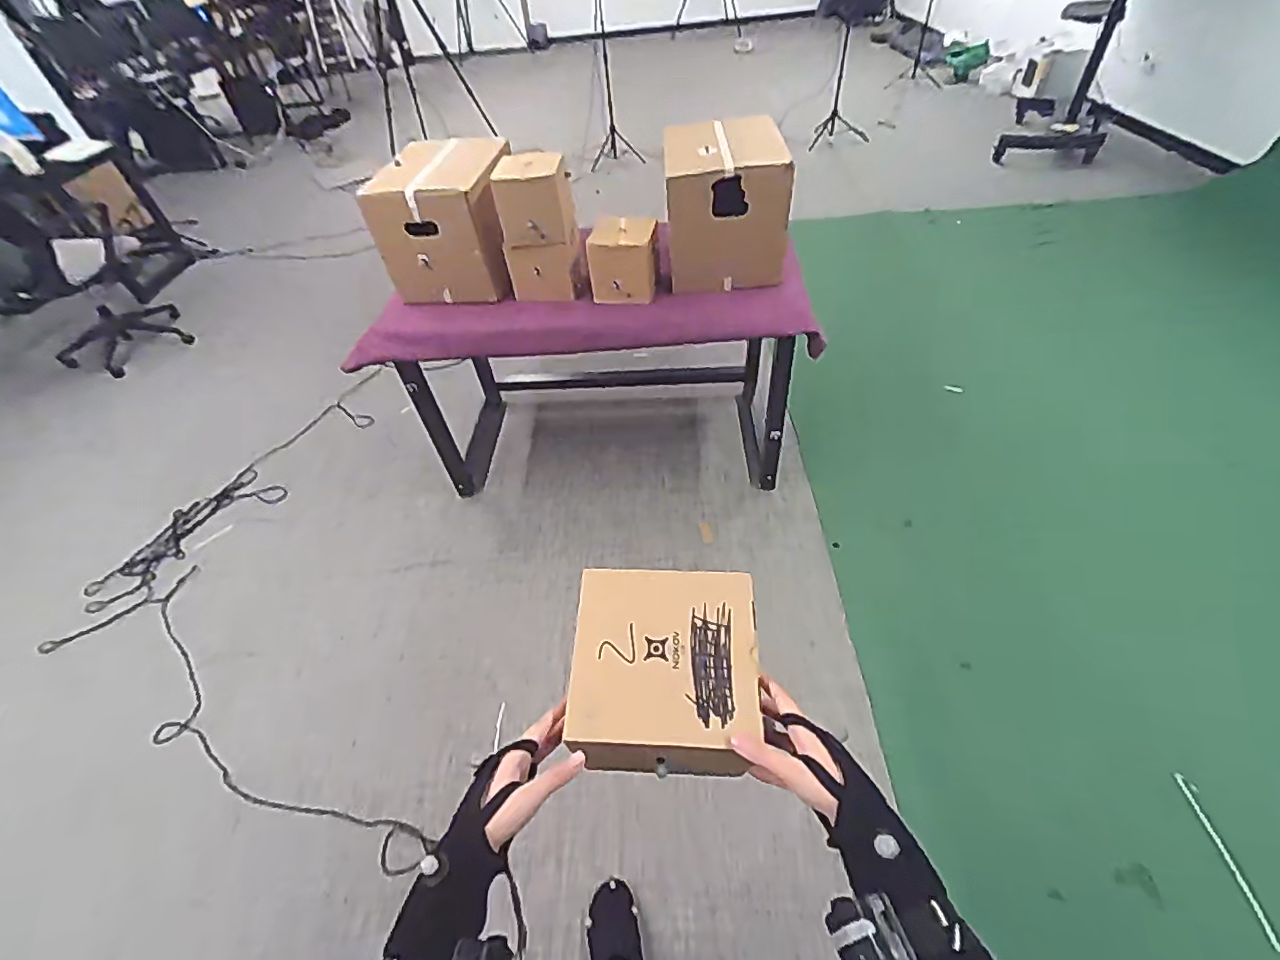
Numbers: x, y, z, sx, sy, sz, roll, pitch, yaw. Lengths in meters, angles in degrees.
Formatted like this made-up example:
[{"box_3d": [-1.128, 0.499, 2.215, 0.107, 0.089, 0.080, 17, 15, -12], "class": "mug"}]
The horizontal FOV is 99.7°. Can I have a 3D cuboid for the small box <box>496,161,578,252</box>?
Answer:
[{"box_3d": [-0.265, -0.726, 1.438, 0.168, 0.176, 0.179, -2, 47, 5], "class": "small box"}]

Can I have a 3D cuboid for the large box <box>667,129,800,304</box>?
[{"box_3d": [0.246, -0.754, 1.542, 0.320, 0.320, 0.408, -4, 47, 6], "class": "large box"}]
